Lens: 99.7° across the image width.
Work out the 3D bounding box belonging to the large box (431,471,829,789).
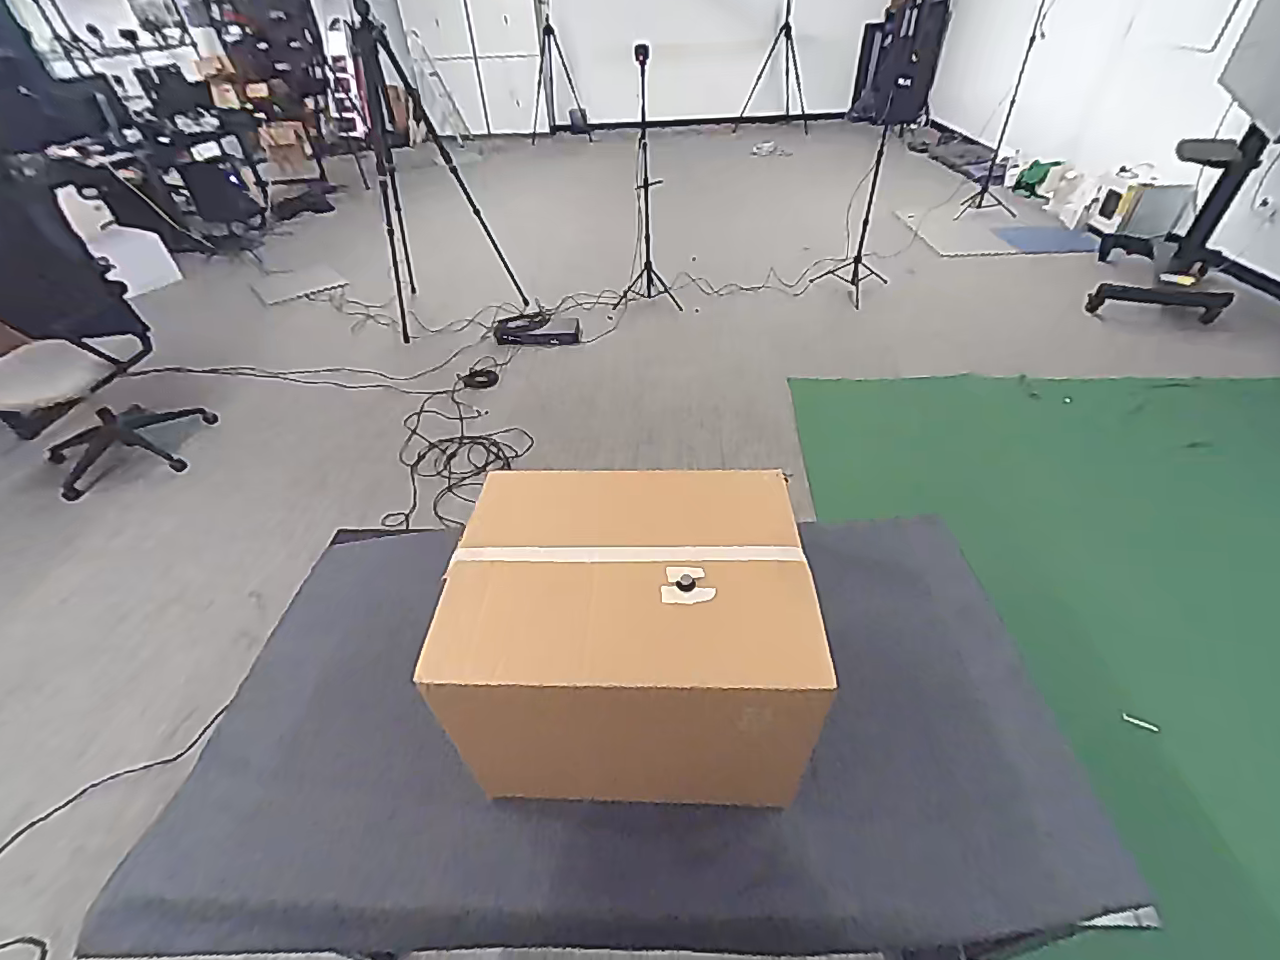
[{"bbox_3d":[-0.006,0.202,0.738,0.408,0.320,0.320,0,43,3],"label":"large box"}]
